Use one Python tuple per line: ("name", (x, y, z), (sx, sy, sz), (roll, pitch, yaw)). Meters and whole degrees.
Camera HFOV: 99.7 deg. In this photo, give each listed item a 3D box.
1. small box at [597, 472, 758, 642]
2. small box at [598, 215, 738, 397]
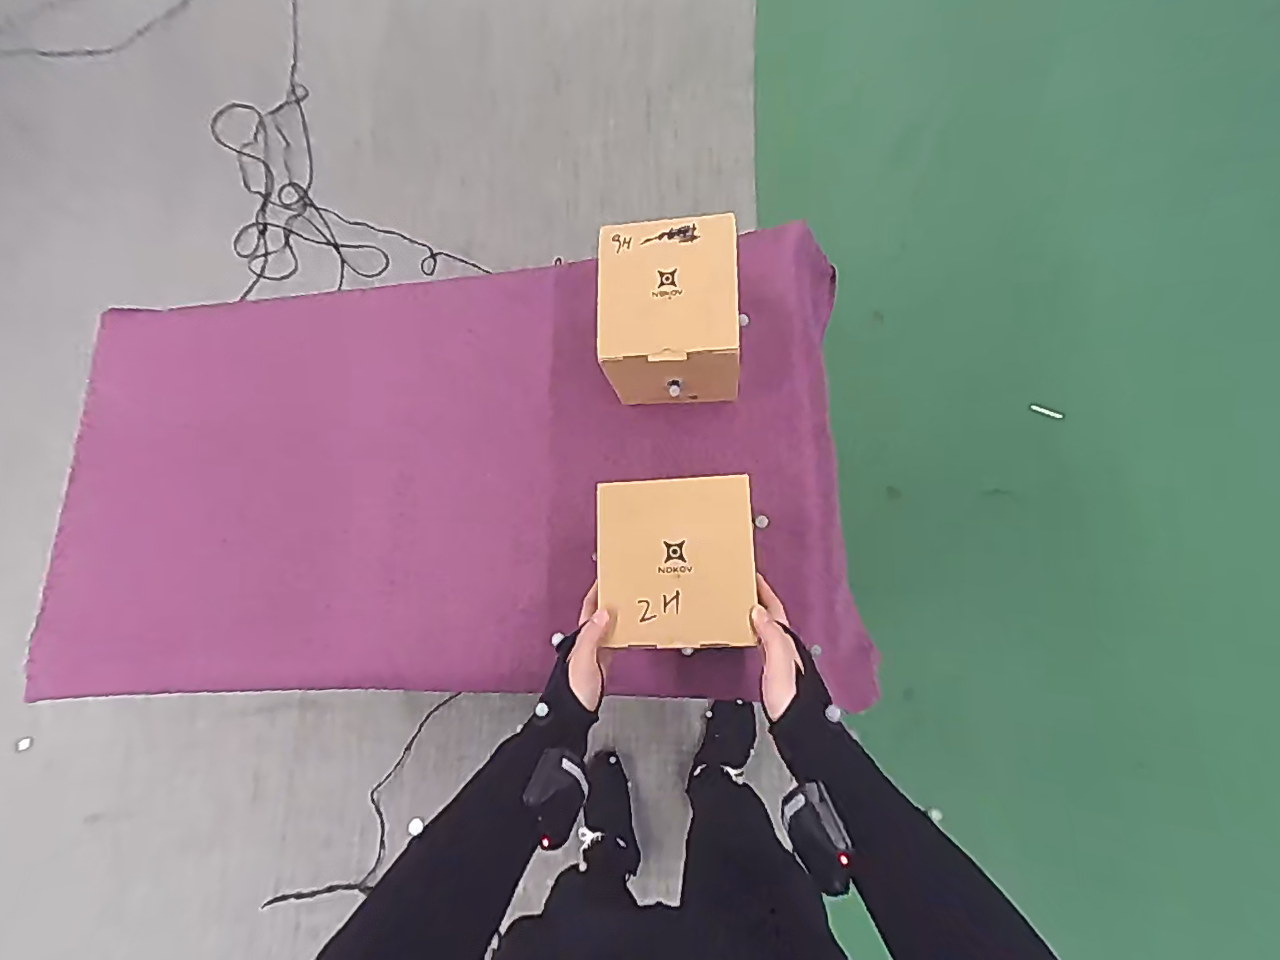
("small box", (0.049, 0.097, 0.641), (0.168, 0.176, 0.179), (-3, 77, 10))
("small box", (0.045, -0.212, 0.711), (0.168, 0.176, 0.179), (-1, 80, 9))
